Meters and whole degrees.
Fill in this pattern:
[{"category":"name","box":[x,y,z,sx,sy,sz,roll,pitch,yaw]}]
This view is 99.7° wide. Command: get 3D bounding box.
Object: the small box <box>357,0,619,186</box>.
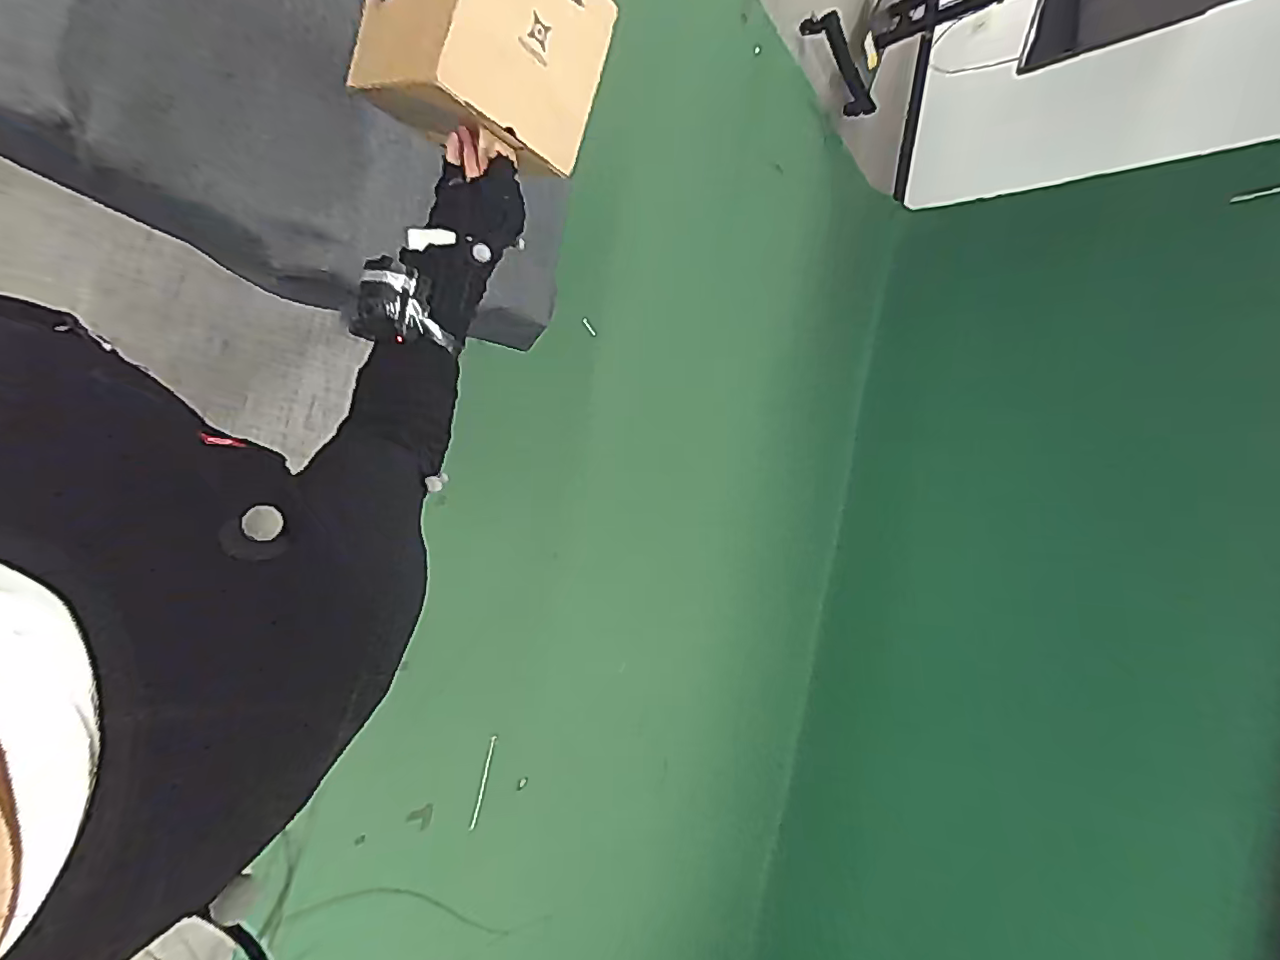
[{"category":"small box","box":[-0.157,-0.431,0.547,0.168,0.176,0.179,6,108,-55]}]
